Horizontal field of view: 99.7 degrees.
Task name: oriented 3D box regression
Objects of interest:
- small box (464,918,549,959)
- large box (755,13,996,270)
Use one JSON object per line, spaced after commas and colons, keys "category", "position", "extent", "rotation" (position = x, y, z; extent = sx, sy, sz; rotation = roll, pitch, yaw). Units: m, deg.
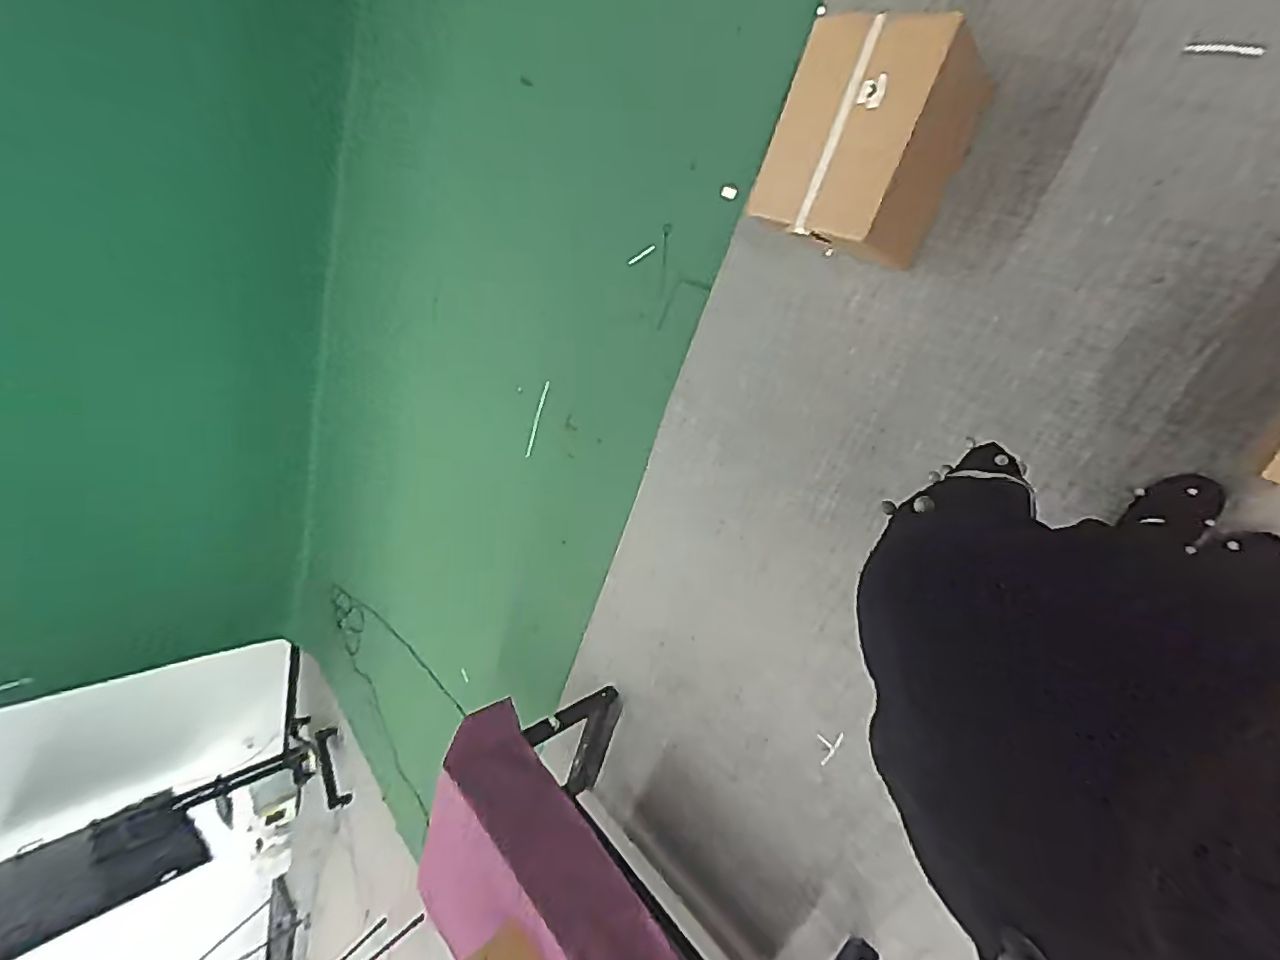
{"category": "small box", "position": [-0.345, 1.283, 1.387], "extent": [0.179, 0.176, 0.168], "rotation": [33, 117, 35]}
{"category": "large box", "position": [0.534, -0.751, 1.248], "extent": [0.320, 0.320, 0.408], "rotation": [36, 116, 35]}
